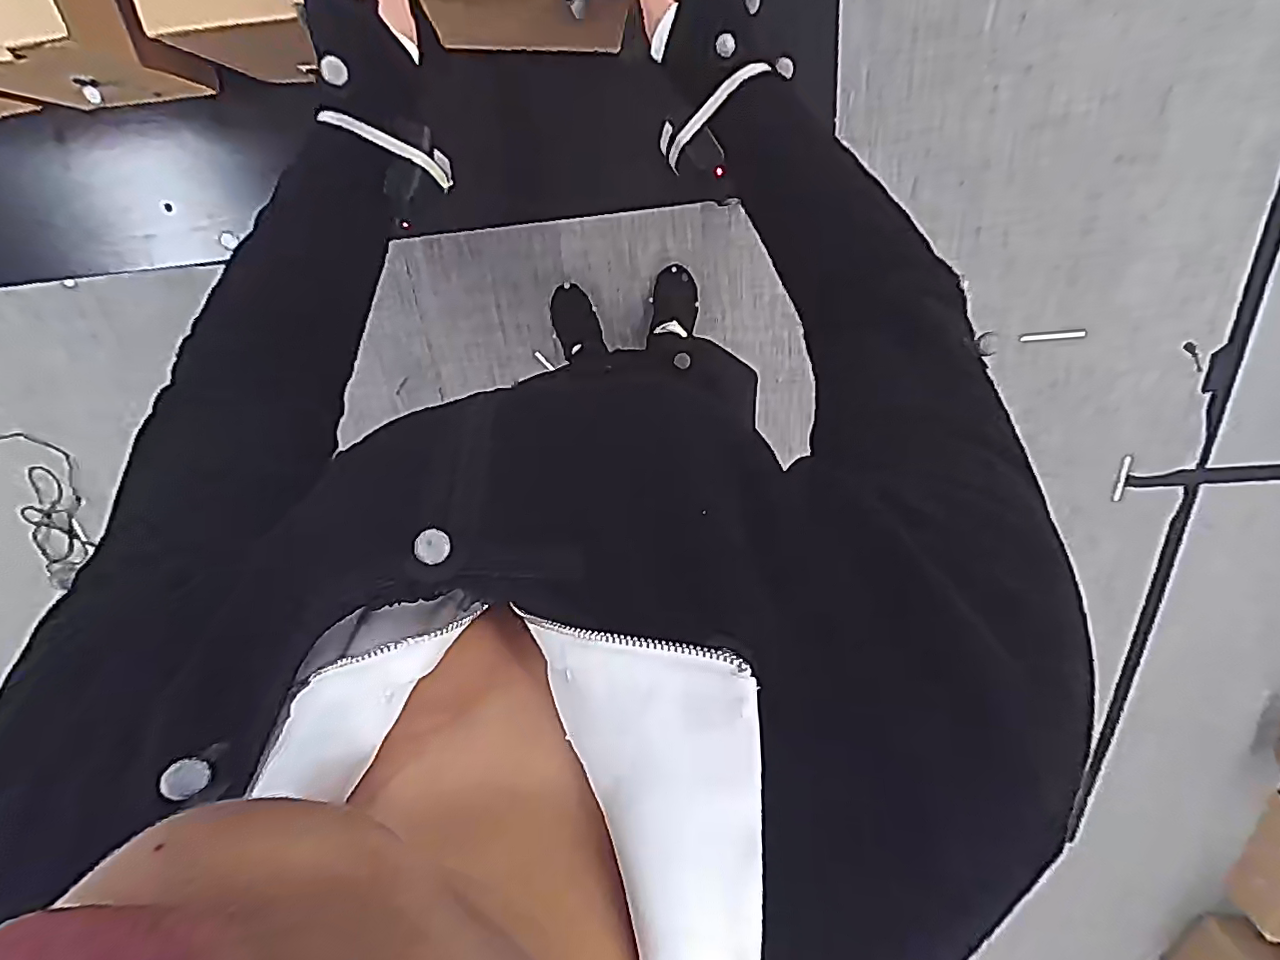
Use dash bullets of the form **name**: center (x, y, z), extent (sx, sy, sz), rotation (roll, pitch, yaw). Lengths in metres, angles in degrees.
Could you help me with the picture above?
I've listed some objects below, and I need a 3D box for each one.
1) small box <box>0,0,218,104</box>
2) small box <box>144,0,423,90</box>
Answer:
- **small box**: center (-0.545, -0.465, 0.495), extent (0.168, 0.176, 0.179), rotation (-3, 114, 4)
- **small box**: center (-0.320, -0.480, 0.482), extent (0.168, 0.176, 0.179), rotation (-3, 114, 5)
